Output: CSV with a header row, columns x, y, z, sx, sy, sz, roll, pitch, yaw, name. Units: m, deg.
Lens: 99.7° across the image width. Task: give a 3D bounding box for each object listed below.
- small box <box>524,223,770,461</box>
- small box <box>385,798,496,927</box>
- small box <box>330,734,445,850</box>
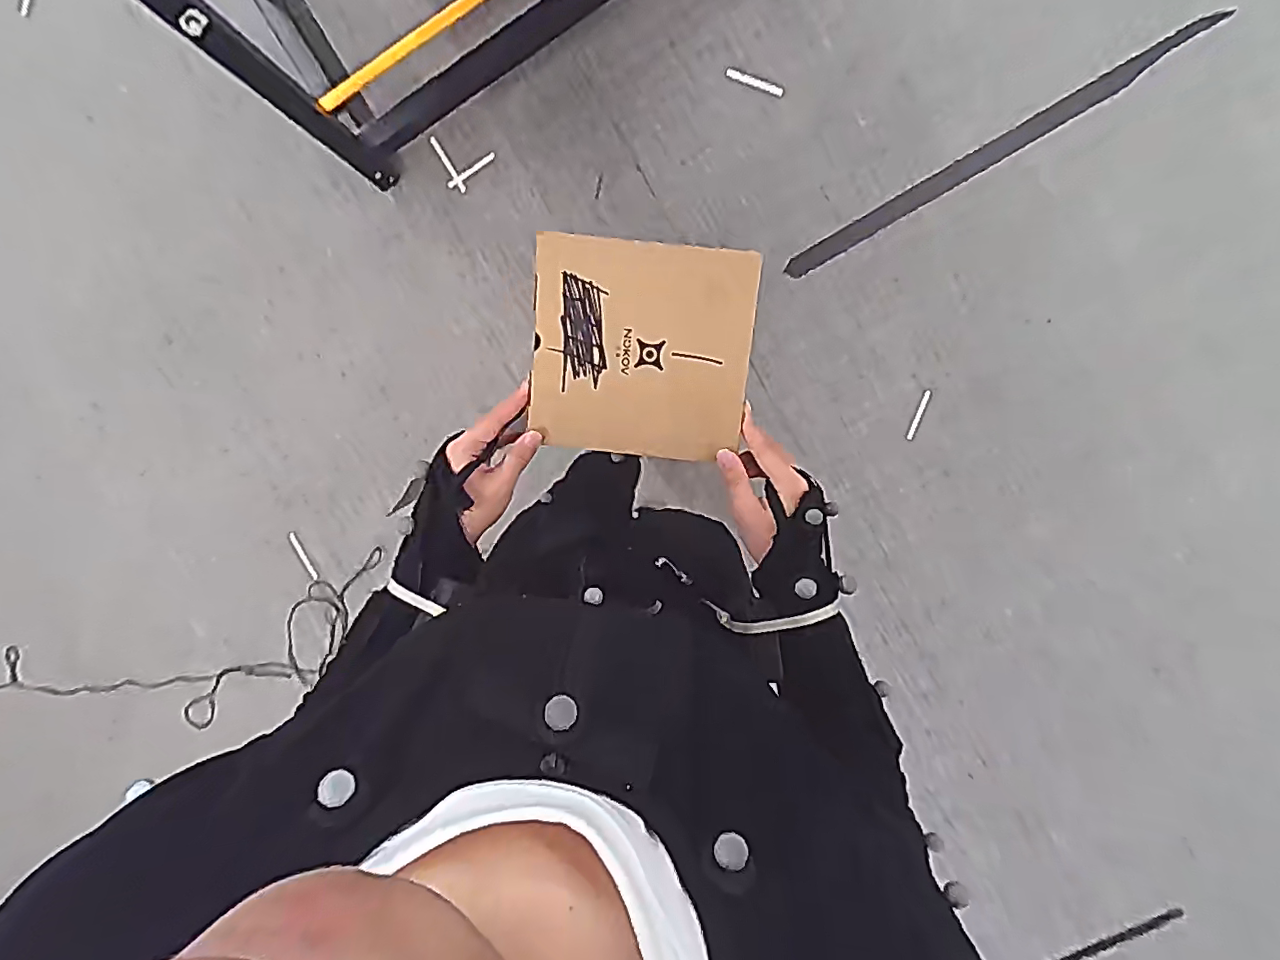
x,y,z,sx,sy,sz,roll,pitch,yaw,name
0.006,-0.117,0.495,0.179,0.176,0.168,7,100,1,small box
-0.503,0.973,1.388,0.179,0.176,0.168,-36,91,6,small box
-0.634,0.780,1.378,0.168,0.176,0.179,-28,93,7,small box
